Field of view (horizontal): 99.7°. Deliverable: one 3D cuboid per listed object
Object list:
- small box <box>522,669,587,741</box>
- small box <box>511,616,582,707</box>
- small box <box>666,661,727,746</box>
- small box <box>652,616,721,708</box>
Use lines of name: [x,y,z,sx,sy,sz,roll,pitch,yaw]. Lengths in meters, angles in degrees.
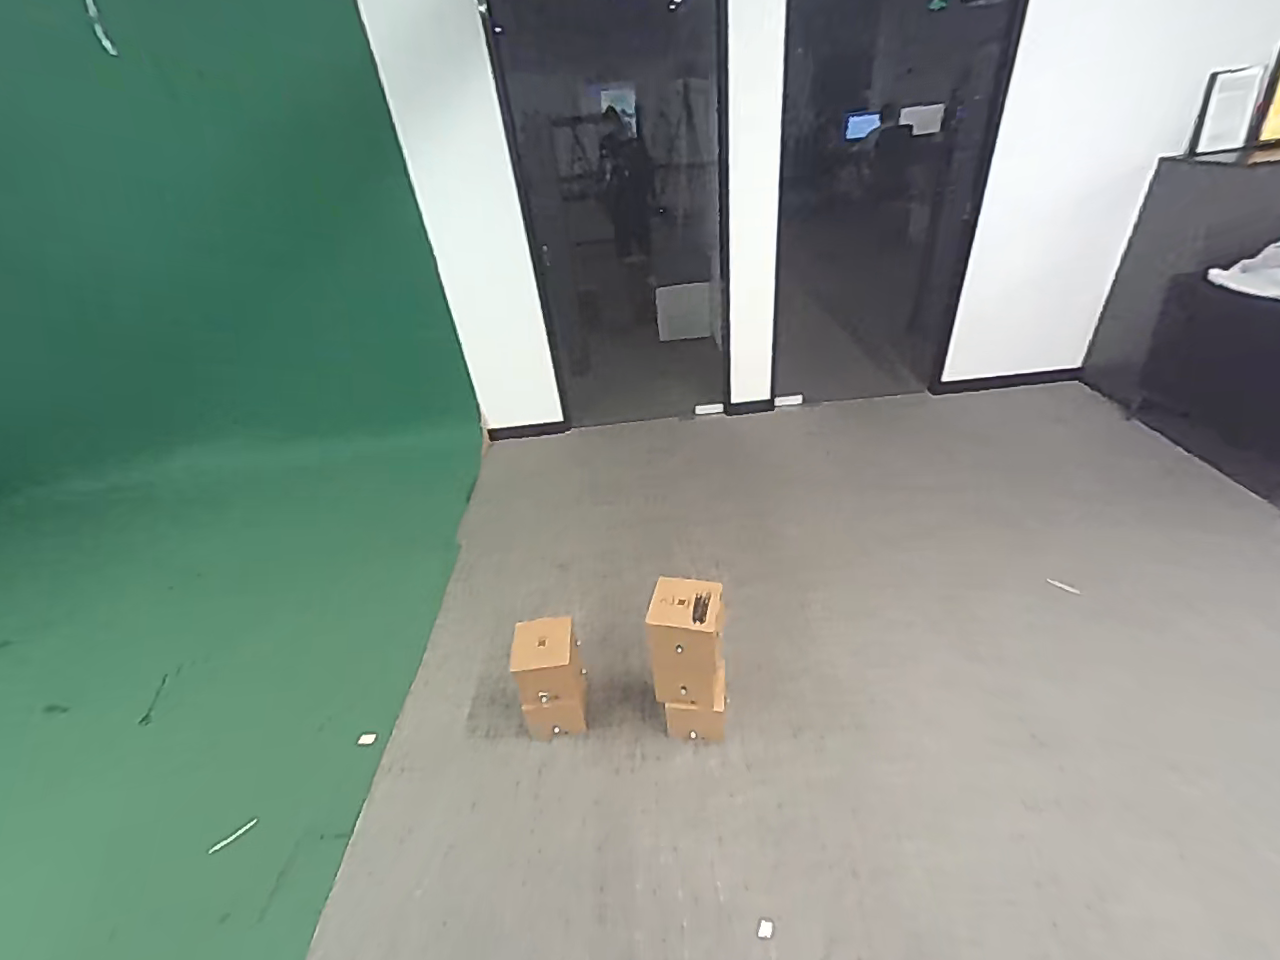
small box: [-0.255,0.662,1.647,0.168,0.176,0.179,-8,34,-1]
small box: [-0.264,0.524,1.561,0.168,0.176,0.179,-8,34,-1]
small box: [0.170,0.650,1.592,0.168,0.176,0.179,0,35,10]
small box: [0.136,0.511,1.512,0.168,0.176,0.179,3,36,14]
